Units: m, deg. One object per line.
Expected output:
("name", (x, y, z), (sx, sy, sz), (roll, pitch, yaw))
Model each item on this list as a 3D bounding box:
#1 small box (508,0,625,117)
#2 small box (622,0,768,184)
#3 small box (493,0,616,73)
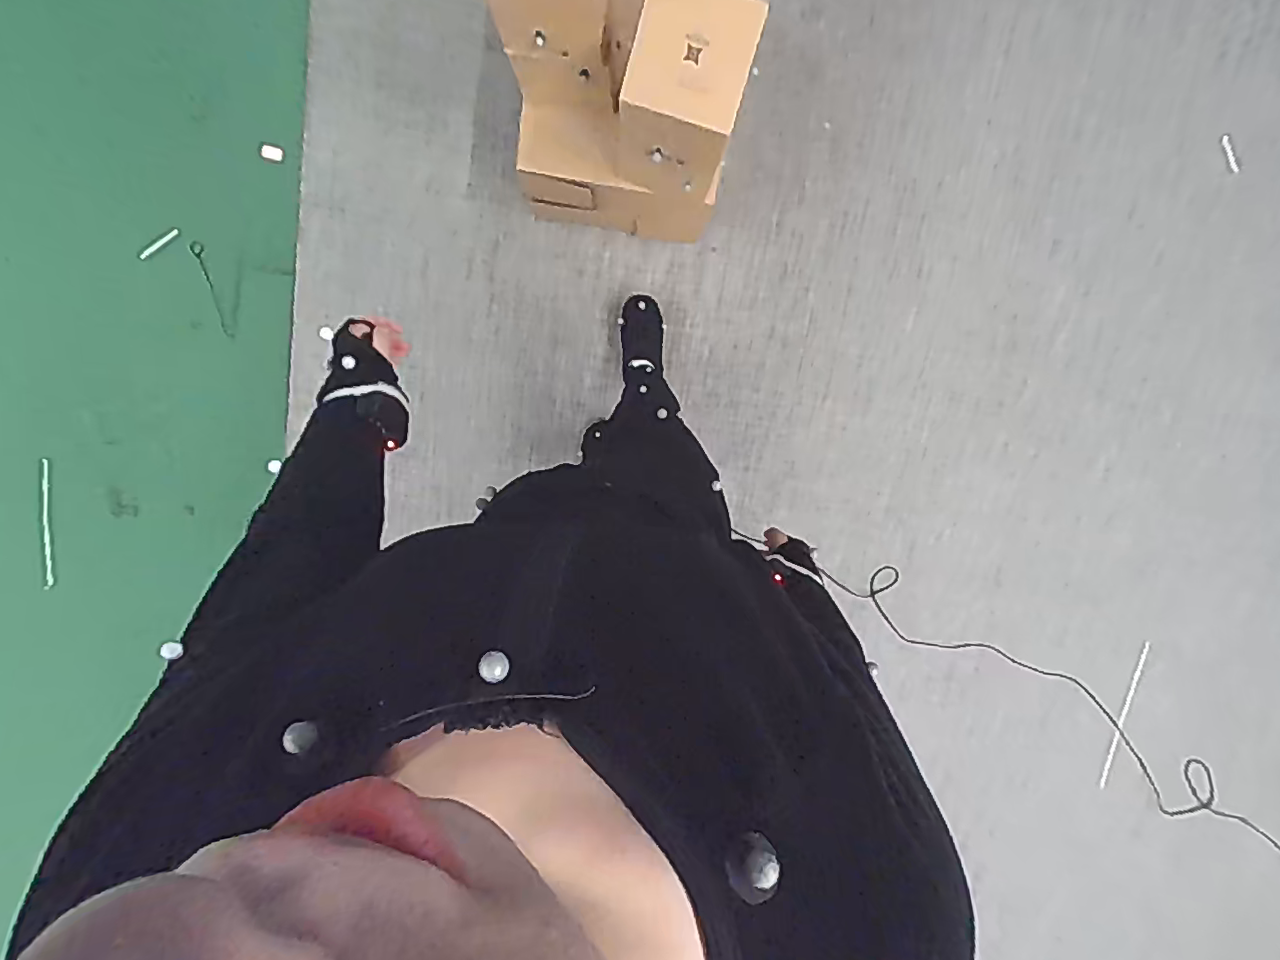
("small box", (-0.122, -0.781, 0.959), (0.179, 0.176, 0.168), (8, 98, -2))
("small box", (0.073, -0.593, 0.824), (0.168, 0.176, 0.179), (17, 99, -3))
("small box", (-0.124, -0.756, 0.798), (0.168, 0.176, 0.179), (10, 99, -2))
